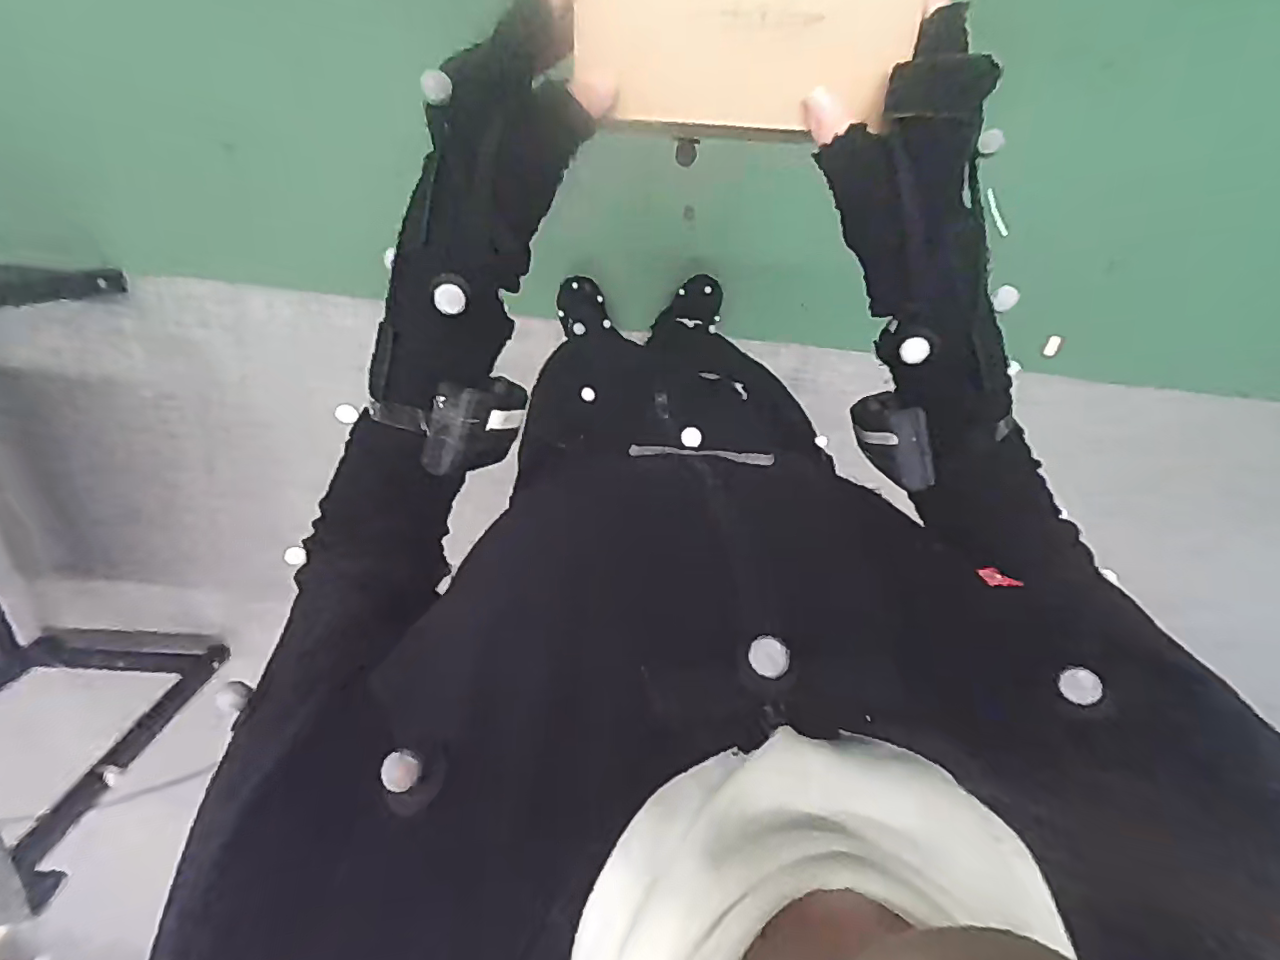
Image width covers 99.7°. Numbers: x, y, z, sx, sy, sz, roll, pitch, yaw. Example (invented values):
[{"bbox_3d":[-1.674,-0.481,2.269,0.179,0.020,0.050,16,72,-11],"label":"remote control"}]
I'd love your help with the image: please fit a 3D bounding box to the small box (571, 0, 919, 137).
[{"bbox_3d":[0.049,-0.301,0.300,0.168,0.176,0.179,2,121,-3],"label":"small box"}]
